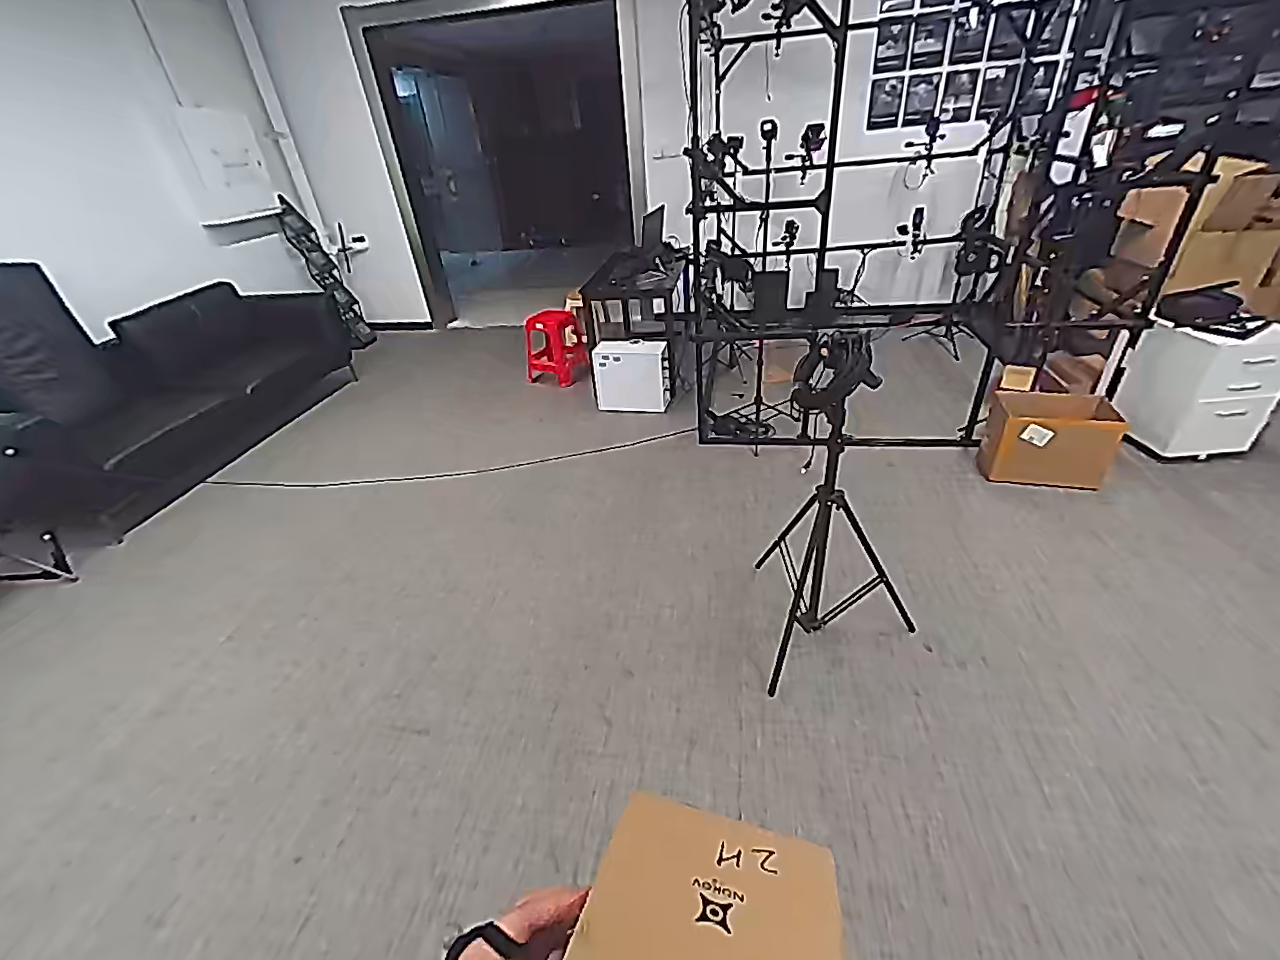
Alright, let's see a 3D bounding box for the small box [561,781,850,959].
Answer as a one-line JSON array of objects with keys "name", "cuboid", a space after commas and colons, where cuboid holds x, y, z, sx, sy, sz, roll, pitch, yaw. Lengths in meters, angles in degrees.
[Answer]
[{"name": "small box", "cuboid": [0.042, 0.355, 0.367, 0.168, 0.176, 0.179, 10, 6, 13]}]
